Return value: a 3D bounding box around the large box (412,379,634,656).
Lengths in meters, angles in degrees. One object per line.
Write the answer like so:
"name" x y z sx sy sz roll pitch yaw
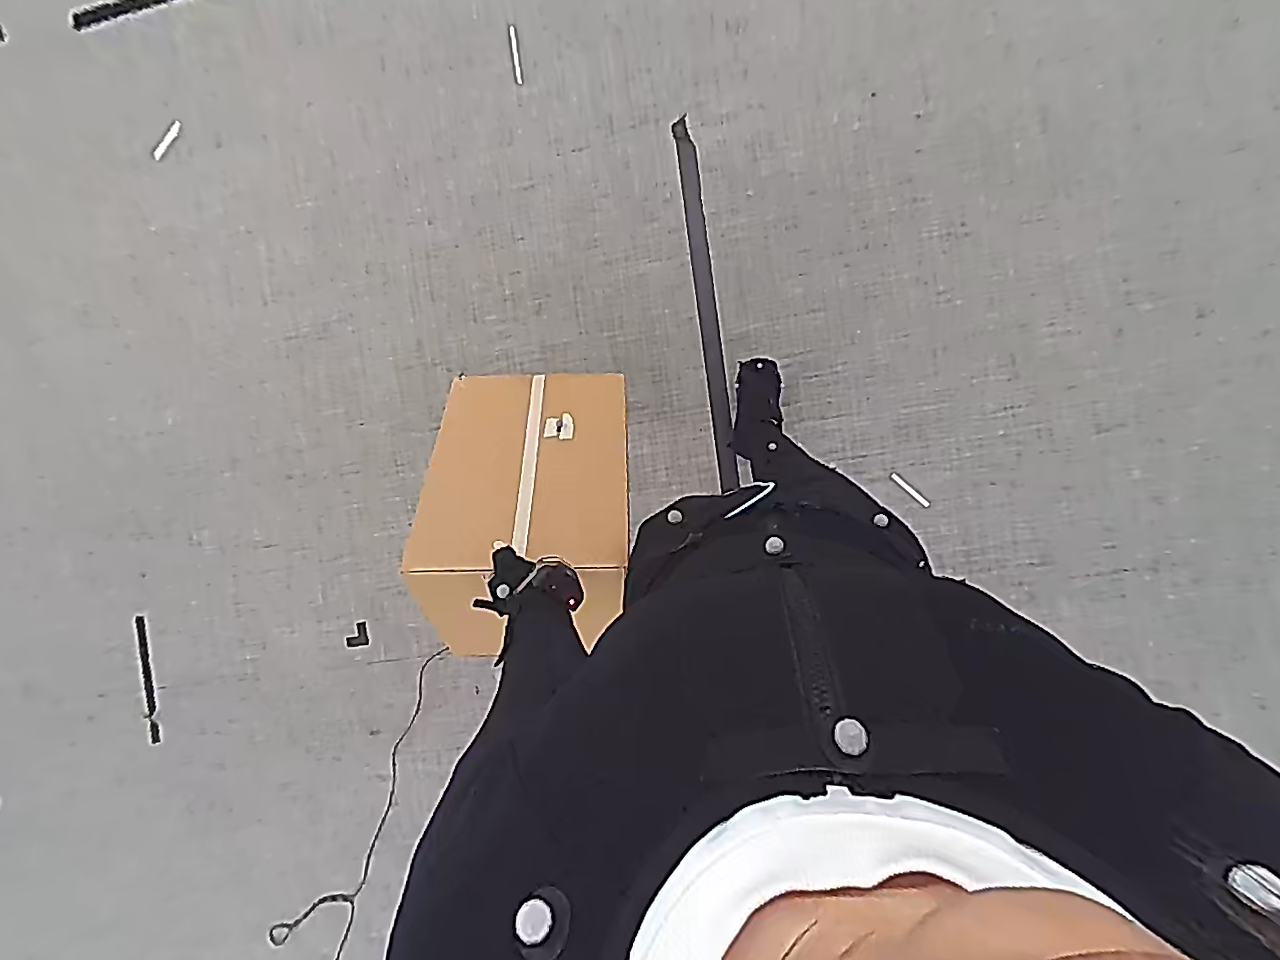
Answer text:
"large box" -0.175 0.066 0.985 0.320 0.320 0.408 0 50 -3
